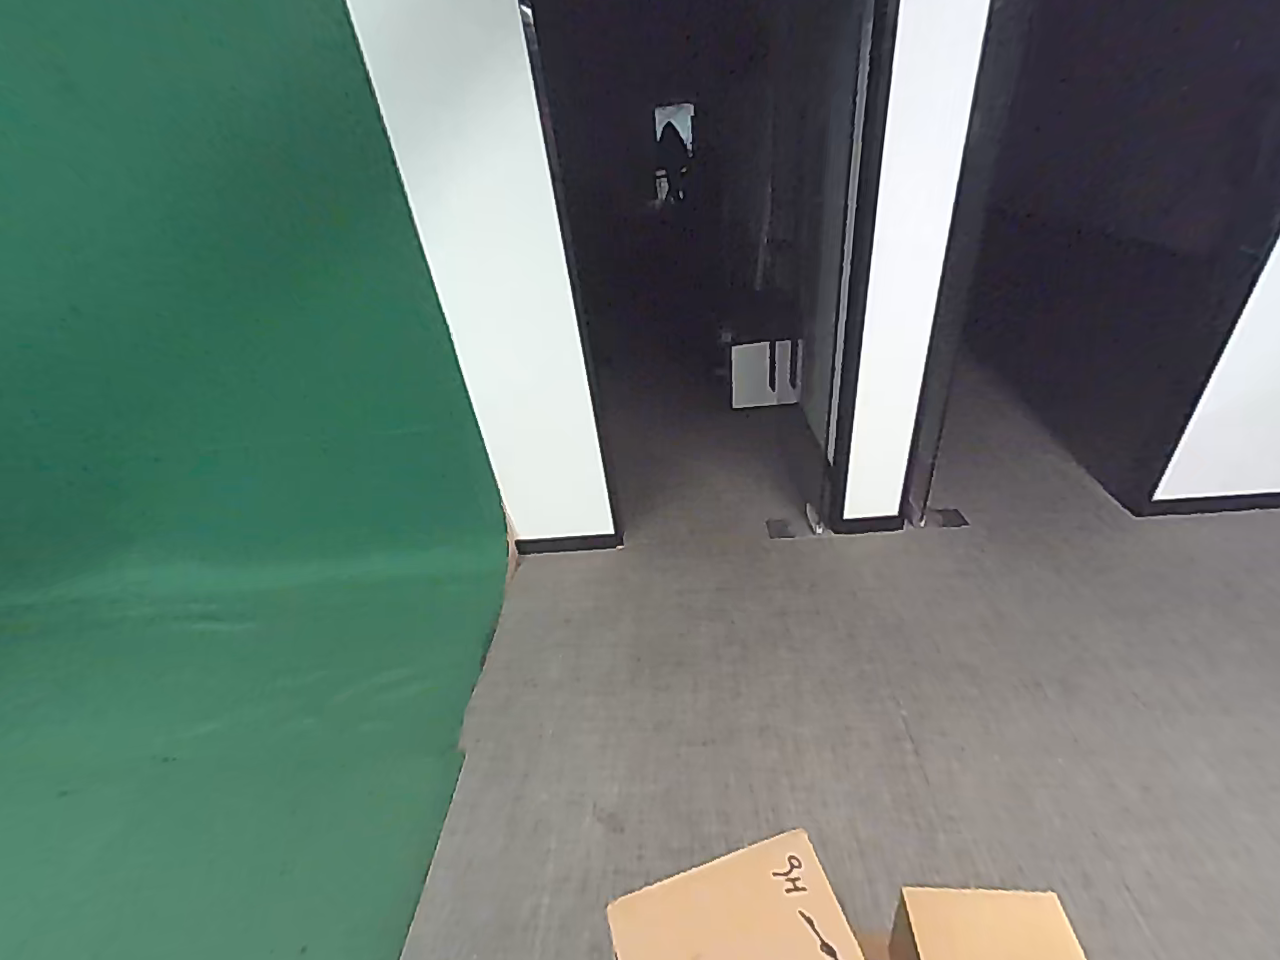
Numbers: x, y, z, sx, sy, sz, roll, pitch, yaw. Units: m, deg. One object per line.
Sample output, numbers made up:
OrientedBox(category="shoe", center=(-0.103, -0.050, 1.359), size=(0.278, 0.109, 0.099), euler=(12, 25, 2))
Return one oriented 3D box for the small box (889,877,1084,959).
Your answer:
OrientedBox(category="small box", center=(0.388, 0.579, 0.596), size=(0.168, 0.176, 0.179), euler=(-4, 33, 9))
